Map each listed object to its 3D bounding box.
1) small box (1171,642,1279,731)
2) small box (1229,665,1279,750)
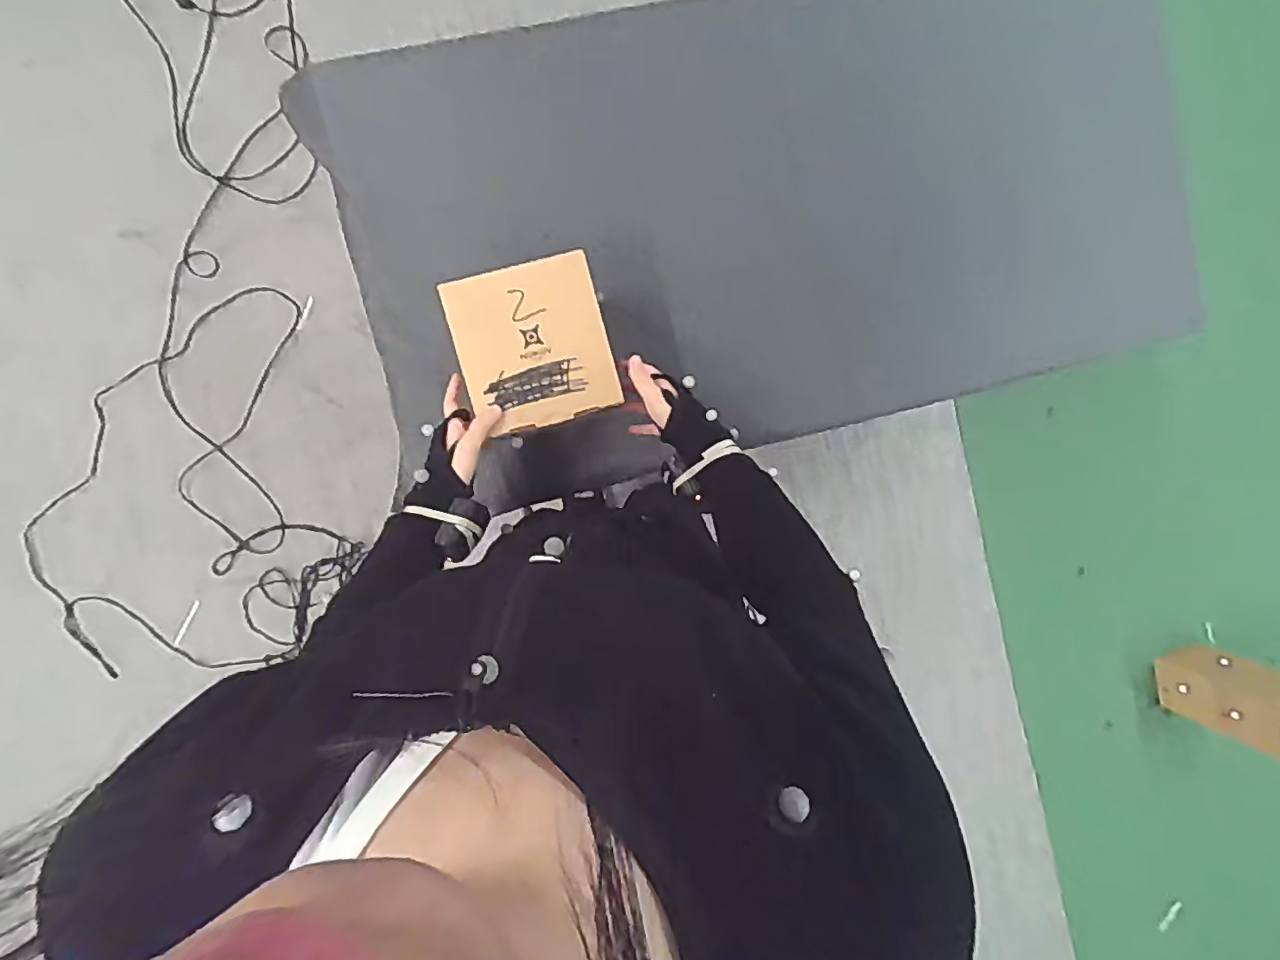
[{"bbox_3d":[1.711,0.597,1.579,0.179,0.176,0.168,-15,94,-3],"label":"small box"},{"bbox_3d":[1.721,0.604,1.414,0.179,0.176,0.168,-12,94,-3],"label":"small box"}]
